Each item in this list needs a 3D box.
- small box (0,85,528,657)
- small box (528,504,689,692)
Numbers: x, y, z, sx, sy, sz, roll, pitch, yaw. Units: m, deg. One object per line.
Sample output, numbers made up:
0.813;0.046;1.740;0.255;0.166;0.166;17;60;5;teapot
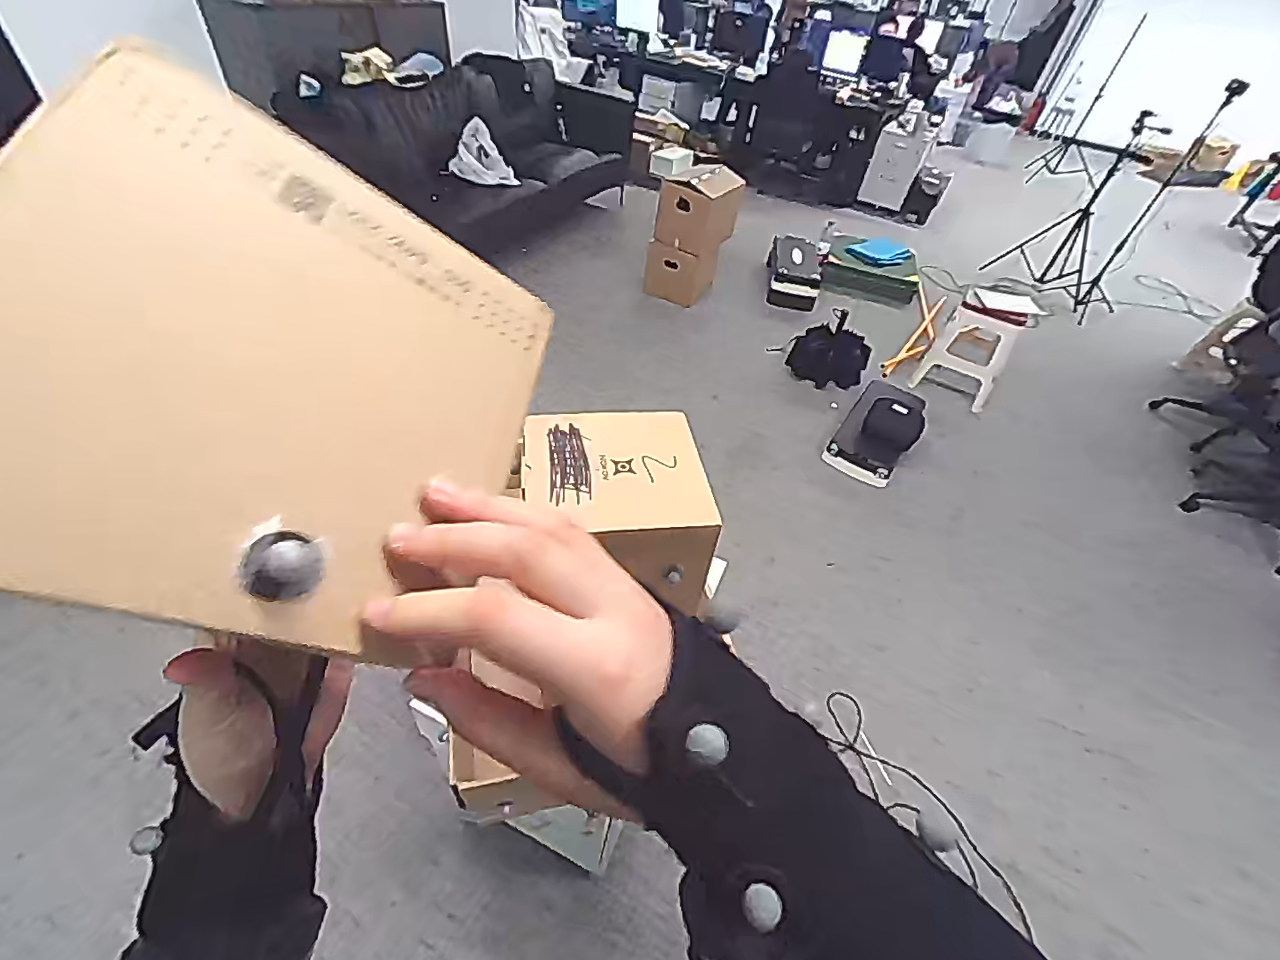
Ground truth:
-0.176;-0.023;0.261;0.168;0.179;0.176;27;63;-34;small box
-0.050;0.153;0.706;0.179;0.176;0.168;-6;44;-11;small box
